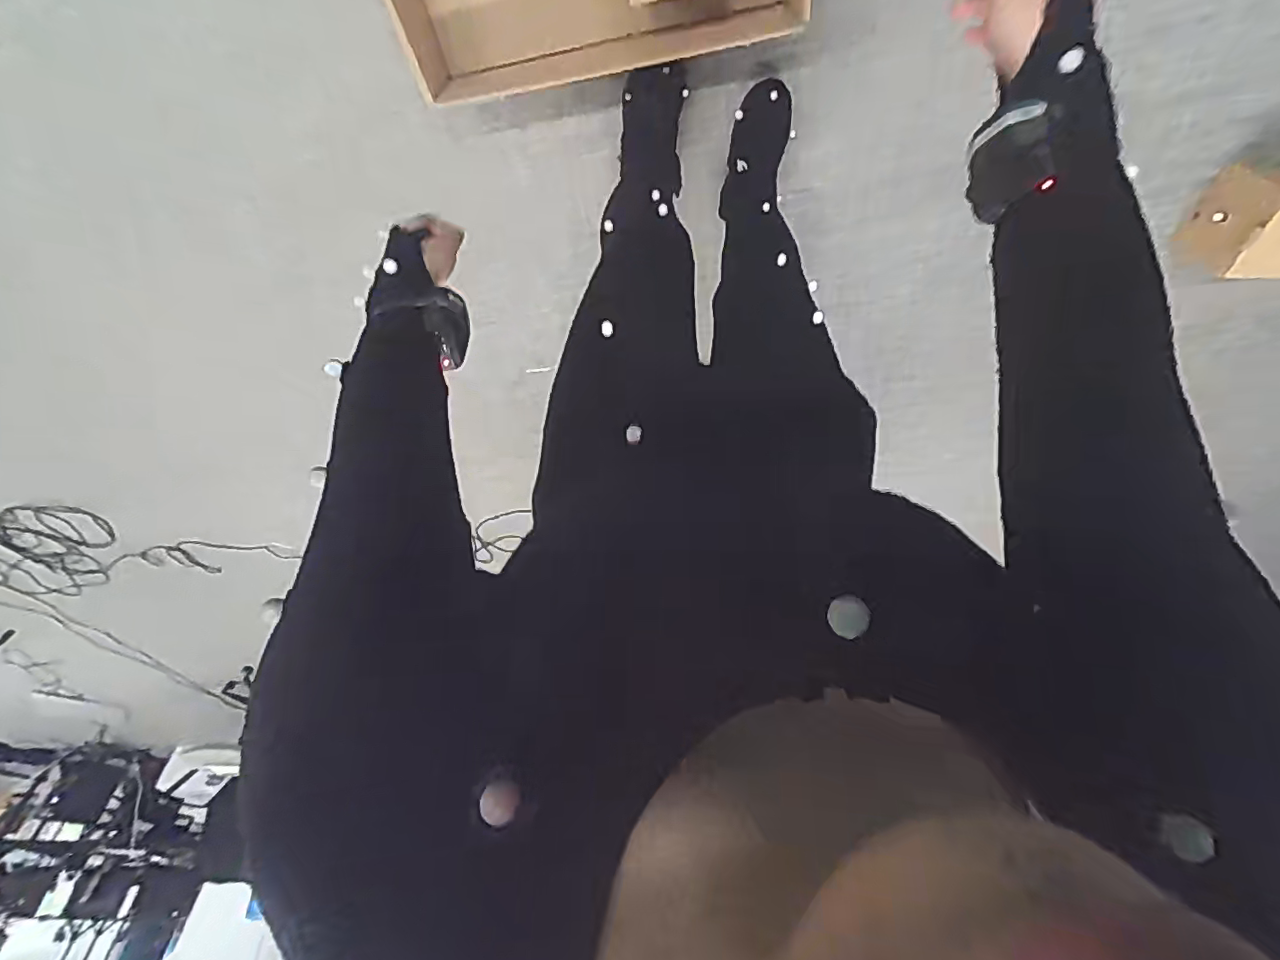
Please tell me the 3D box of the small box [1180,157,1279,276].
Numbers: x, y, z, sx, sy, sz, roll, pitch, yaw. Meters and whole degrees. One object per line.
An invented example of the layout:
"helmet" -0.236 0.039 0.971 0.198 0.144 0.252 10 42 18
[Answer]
"small box" 1.277 -0.533 1.092 0.179 0.176 0.168 1 140 1
